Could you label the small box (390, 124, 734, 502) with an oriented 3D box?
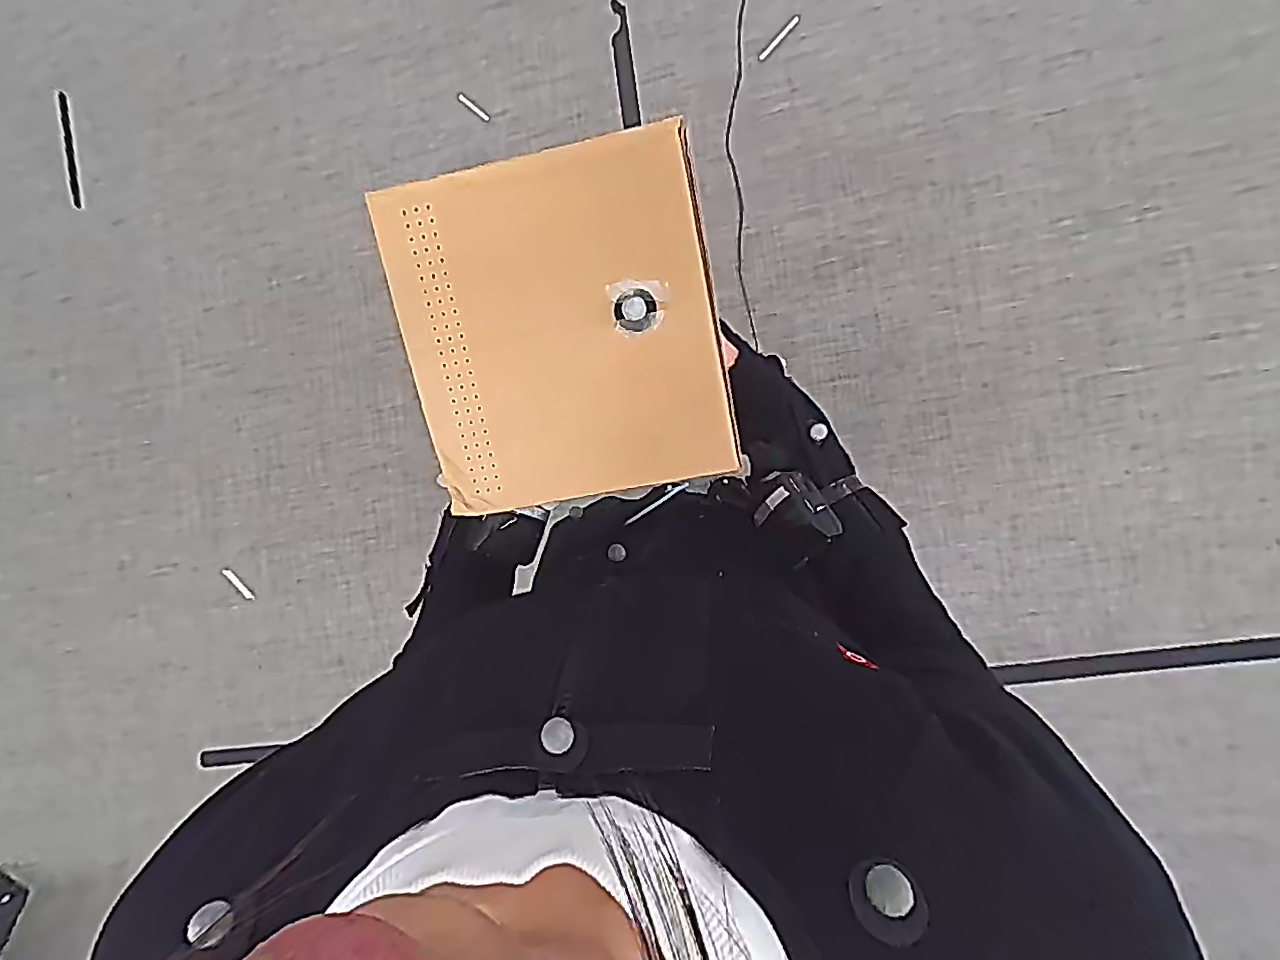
[{"bbox_3d":[-0.040,-0.097,0.370,0.176,0.168,0.179,-9,101,7],"label":"small box"}]
